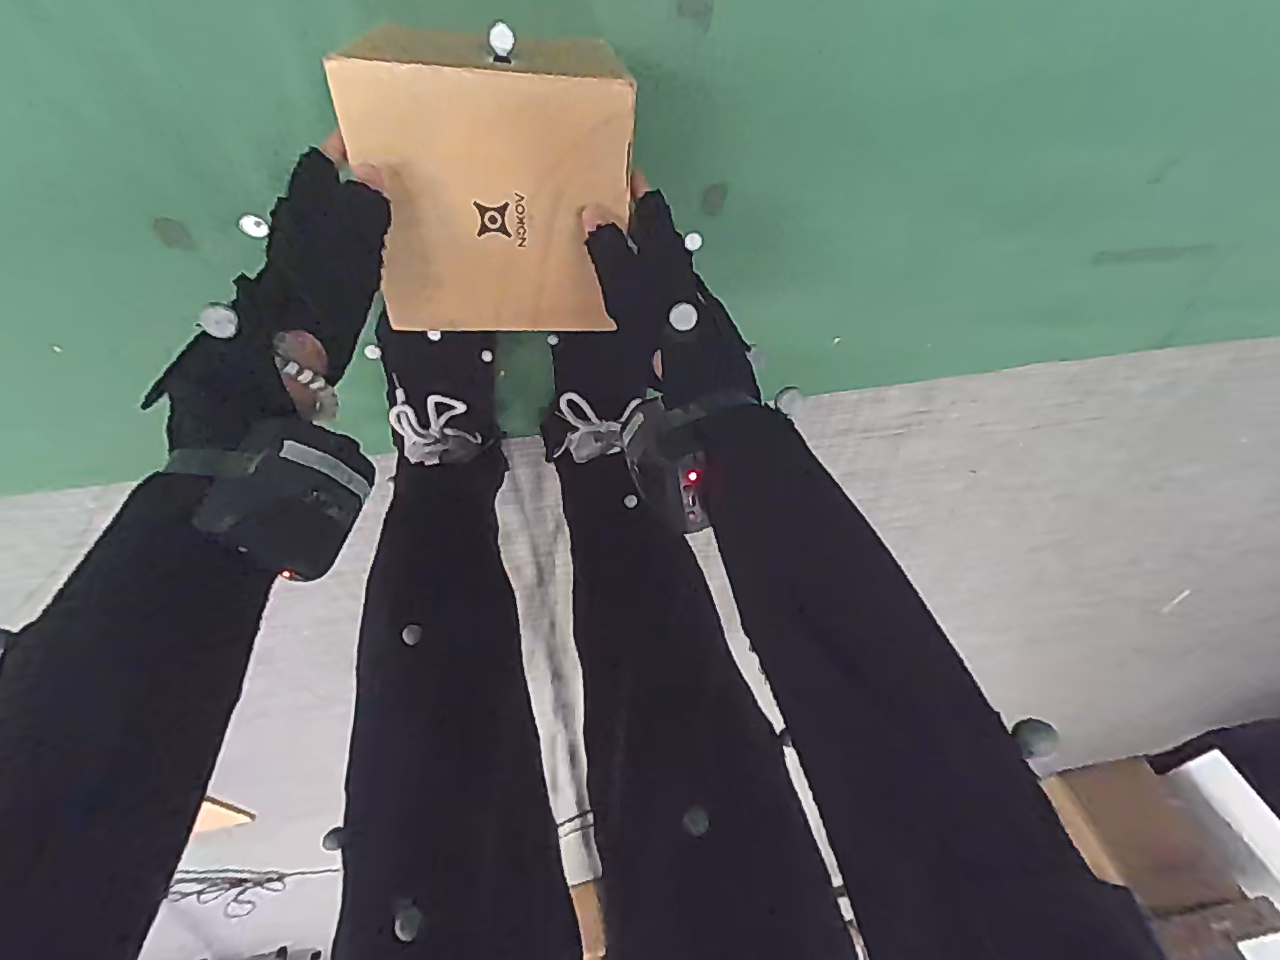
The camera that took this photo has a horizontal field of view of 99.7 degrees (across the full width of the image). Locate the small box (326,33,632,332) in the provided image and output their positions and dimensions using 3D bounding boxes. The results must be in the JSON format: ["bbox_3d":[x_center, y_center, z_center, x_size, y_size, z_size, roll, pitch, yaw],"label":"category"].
[{"bbox_3d":[-0.110,-0.232,0.424,0.179,0.176,0.168,-3,135,-10],"label":"small box"}]
